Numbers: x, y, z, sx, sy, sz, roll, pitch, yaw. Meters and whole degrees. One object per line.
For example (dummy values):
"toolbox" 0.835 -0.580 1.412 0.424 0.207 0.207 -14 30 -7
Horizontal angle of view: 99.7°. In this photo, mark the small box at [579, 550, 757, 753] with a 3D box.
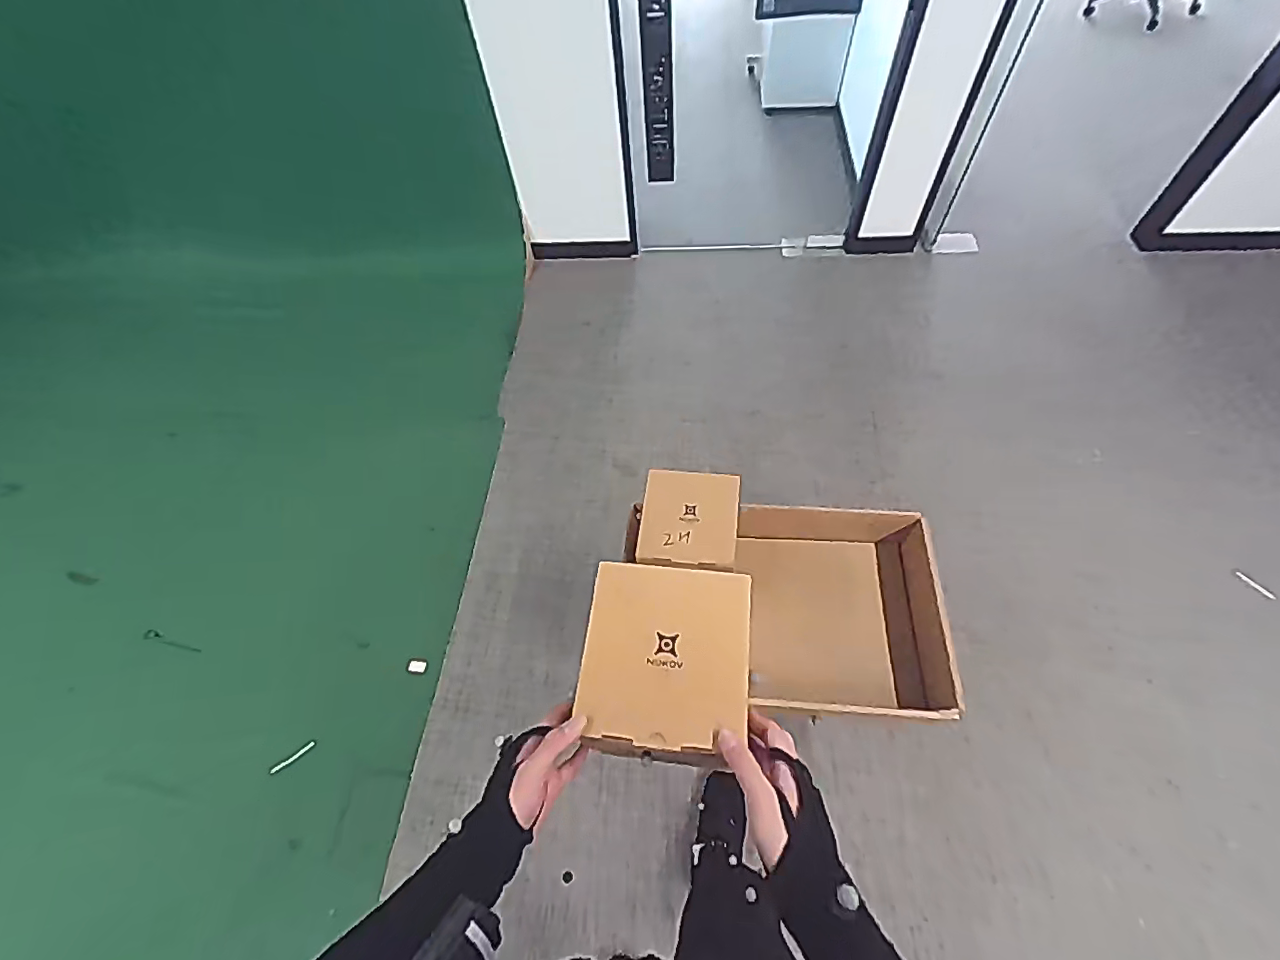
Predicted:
"small box" 0.036 0.198 0.611 0.168 0.176 0.179 5 61 6

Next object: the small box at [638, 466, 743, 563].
"small box" 0.094 0.097 0.995 0.168 0.176 0.179 5 60 9
